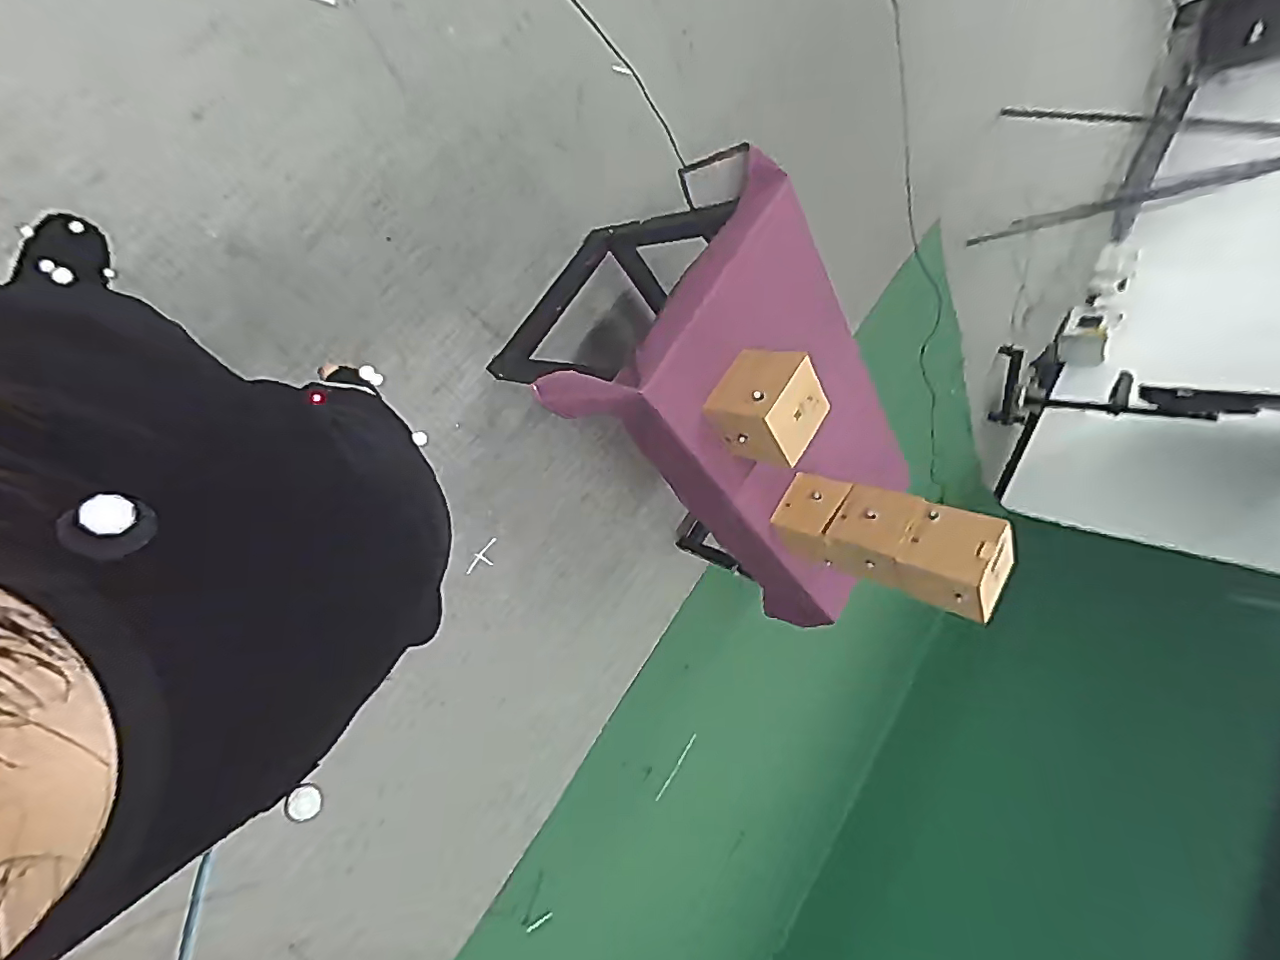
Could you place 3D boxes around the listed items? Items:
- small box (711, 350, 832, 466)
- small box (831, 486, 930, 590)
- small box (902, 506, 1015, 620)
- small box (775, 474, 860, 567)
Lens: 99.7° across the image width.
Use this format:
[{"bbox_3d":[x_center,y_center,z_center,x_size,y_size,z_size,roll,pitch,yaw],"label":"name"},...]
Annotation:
[{"bbox_3d":[0.276,-0.160,1.159,0.179,0.176,0.168,-55,132,-15],"label":"small box"},{"bbox_3d":[0.588,0.132,1.305,0.168,0.176,0.179,-53,131,-16],"label":"small box"},{"bbox_3d":[0.699,0.175,1.191,0.168,0.176,0.179,-54,132,-16],"label":"small box"},{"bbox_3d":[0.484,0.099,1.429,0.168,0.176,0.179,-56,132,-14],"label":"small box"}]
